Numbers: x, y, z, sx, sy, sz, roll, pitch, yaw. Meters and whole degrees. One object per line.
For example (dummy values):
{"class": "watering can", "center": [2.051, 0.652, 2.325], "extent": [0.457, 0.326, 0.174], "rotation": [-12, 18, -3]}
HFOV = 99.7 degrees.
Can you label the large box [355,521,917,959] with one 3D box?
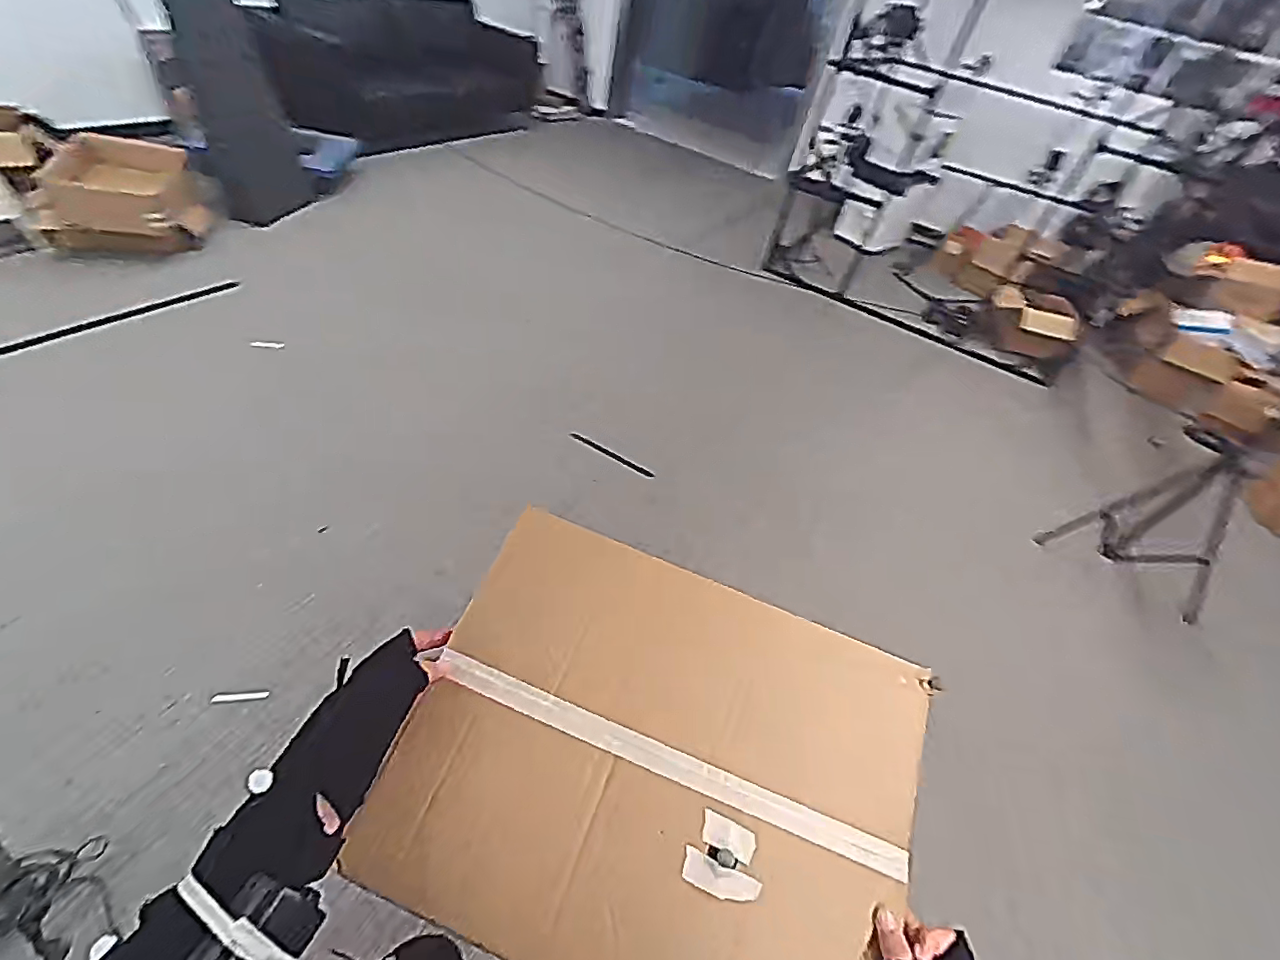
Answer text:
{"class": "large box", "center": [0.007, 0.299, 0.583], "extent": [0.408, 0.320, 0.320], "rotation": [22, 63, 5]}
